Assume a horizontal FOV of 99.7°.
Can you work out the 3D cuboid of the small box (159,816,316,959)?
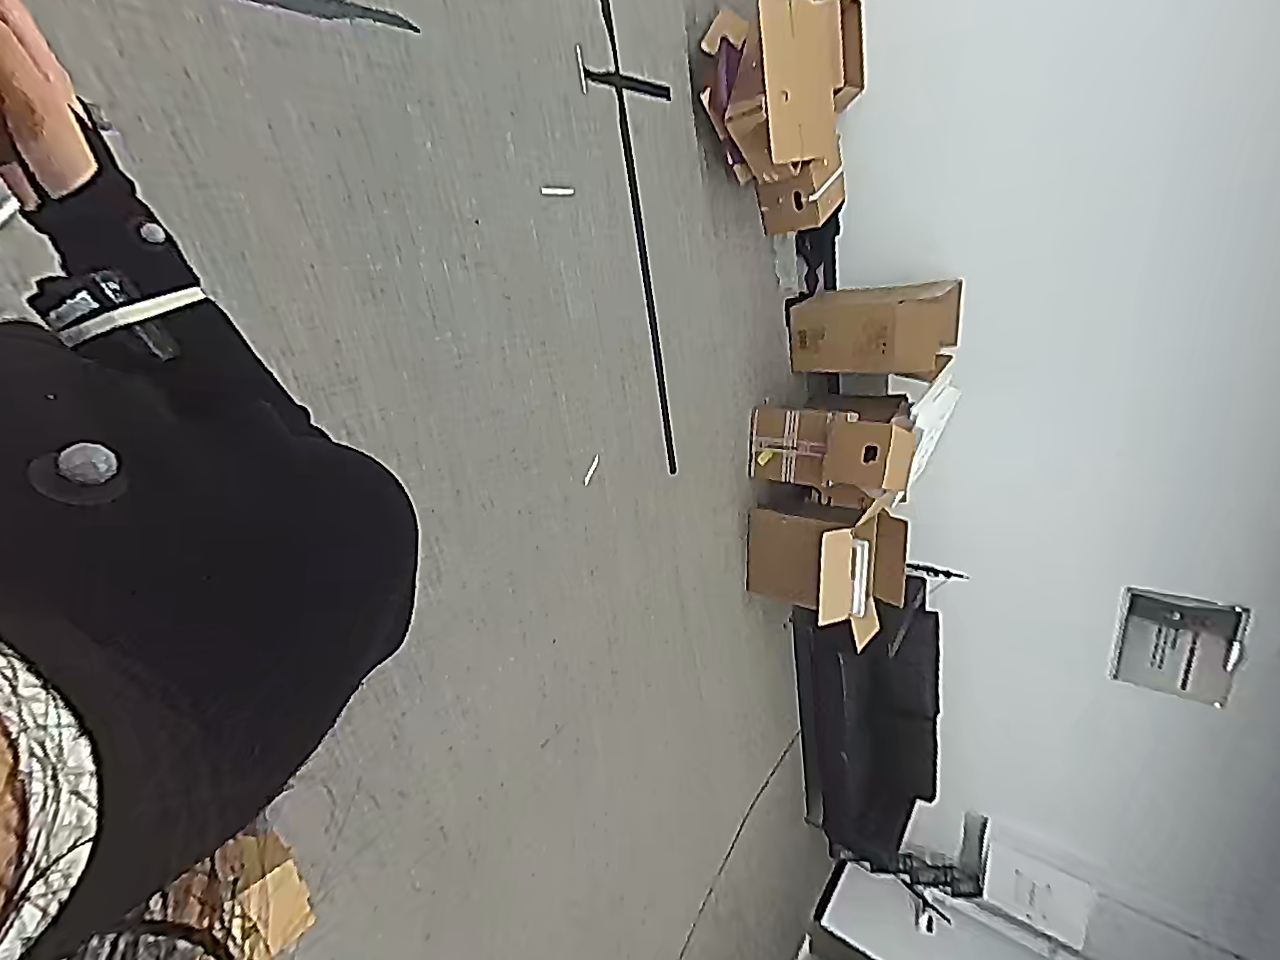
[{"bbox_3d":[-0.751,0.784,1.013,0.179,0.176,0.168,-25,114,-46],"label":"small box"}]

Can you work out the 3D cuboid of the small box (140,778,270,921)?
[{"bbox_3d":[-0.878,0.760,1.111,0.179,0.176,0.168,-21,111,-48],"label":"small box"}]

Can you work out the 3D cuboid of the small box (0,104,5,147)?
[{"bbox_3d":[-0.426,-0.243,0.228,0.168,0.176,0.179,-24,114,-45],"label":"small box"}]
